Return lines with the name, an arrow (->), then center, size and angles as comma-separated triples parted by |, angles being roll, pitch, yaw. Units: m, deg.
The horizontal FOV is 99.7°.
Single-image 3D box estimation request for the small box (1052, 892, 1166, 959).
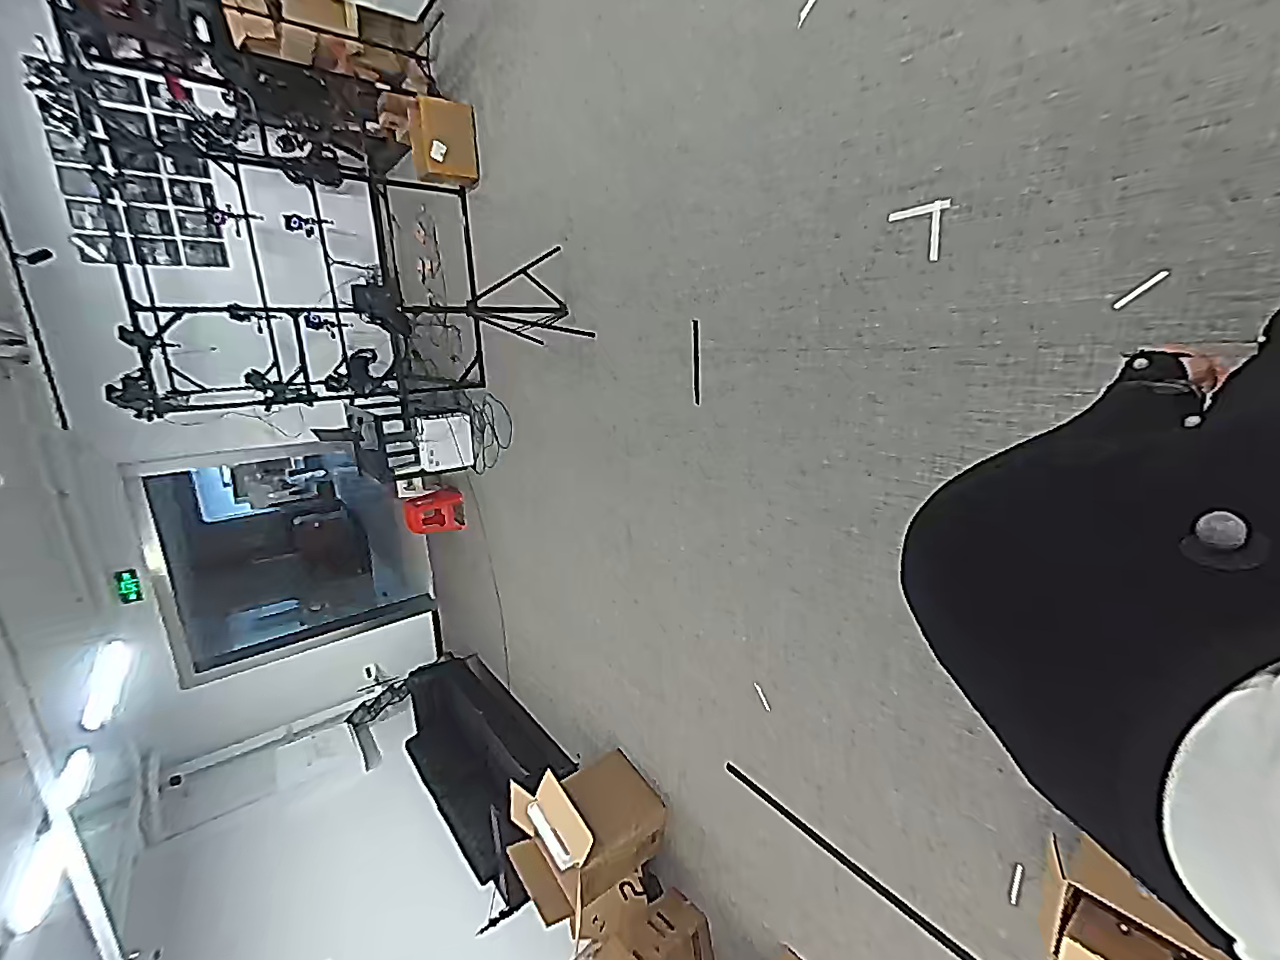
small box -> 1.091, 1.135, 1.265 | 0.168, 0.176, 0.179 | 18, 115, 49
